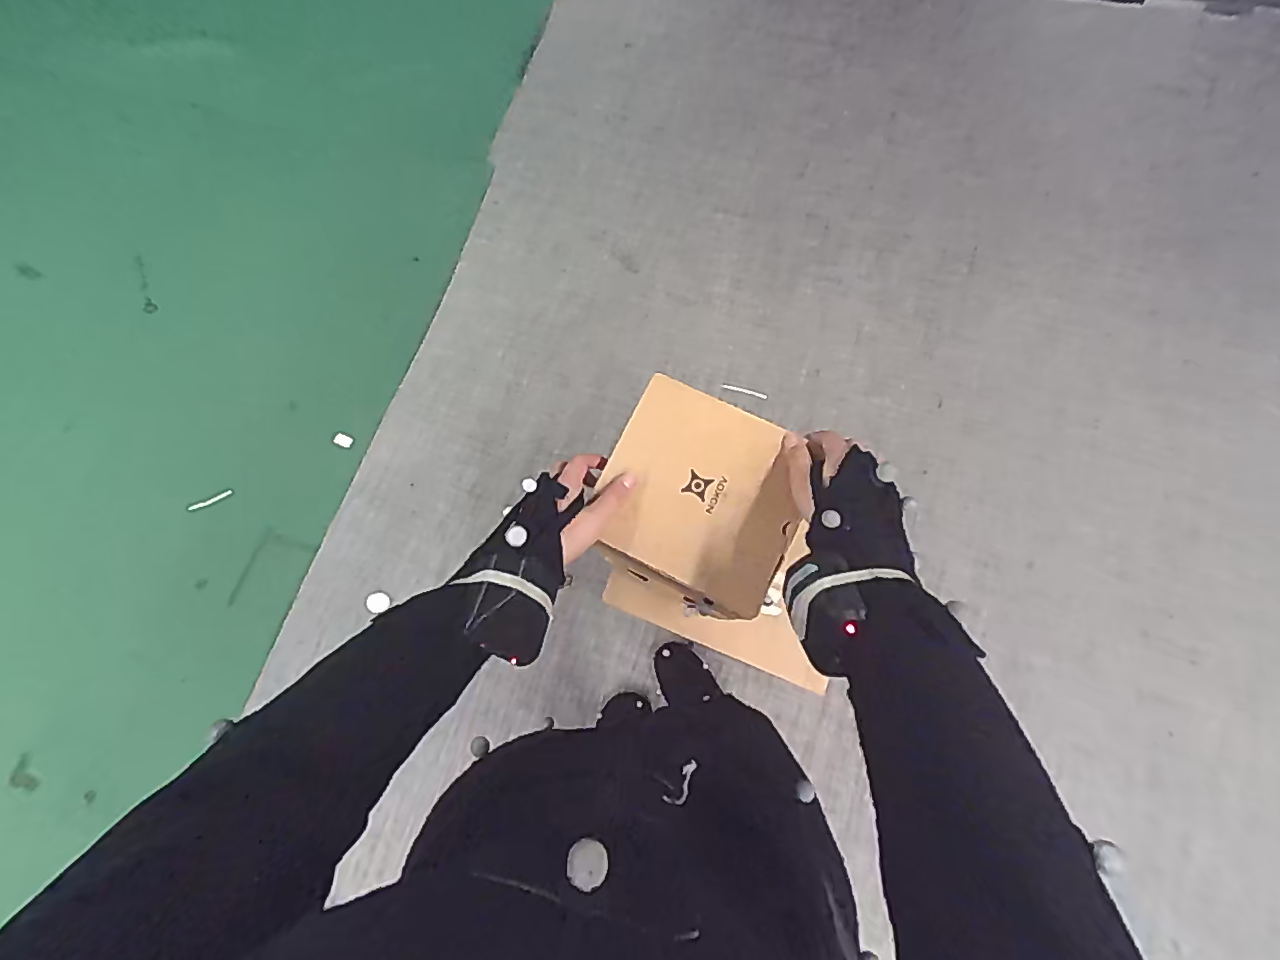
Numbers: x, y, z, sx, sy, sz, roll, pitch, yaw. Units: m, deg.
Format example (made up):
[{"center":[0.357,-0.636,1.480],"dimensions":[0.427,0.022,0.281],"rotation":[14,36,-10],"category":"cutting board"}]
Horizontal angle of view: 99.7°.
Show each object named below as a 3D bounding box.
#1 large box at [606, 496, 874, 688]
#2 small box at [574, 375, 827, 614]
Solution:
[{"center":[0.183,0.178,1.092],"dimensions":[0.408,0.320,0.320],"rotation":[21,79,9],"category":"large box"},{"center":[0.056,0.027,0.552],"dimensions":[0.179,0.176,0.168],"rotation":[25,79,8],"category":"small box"}]
